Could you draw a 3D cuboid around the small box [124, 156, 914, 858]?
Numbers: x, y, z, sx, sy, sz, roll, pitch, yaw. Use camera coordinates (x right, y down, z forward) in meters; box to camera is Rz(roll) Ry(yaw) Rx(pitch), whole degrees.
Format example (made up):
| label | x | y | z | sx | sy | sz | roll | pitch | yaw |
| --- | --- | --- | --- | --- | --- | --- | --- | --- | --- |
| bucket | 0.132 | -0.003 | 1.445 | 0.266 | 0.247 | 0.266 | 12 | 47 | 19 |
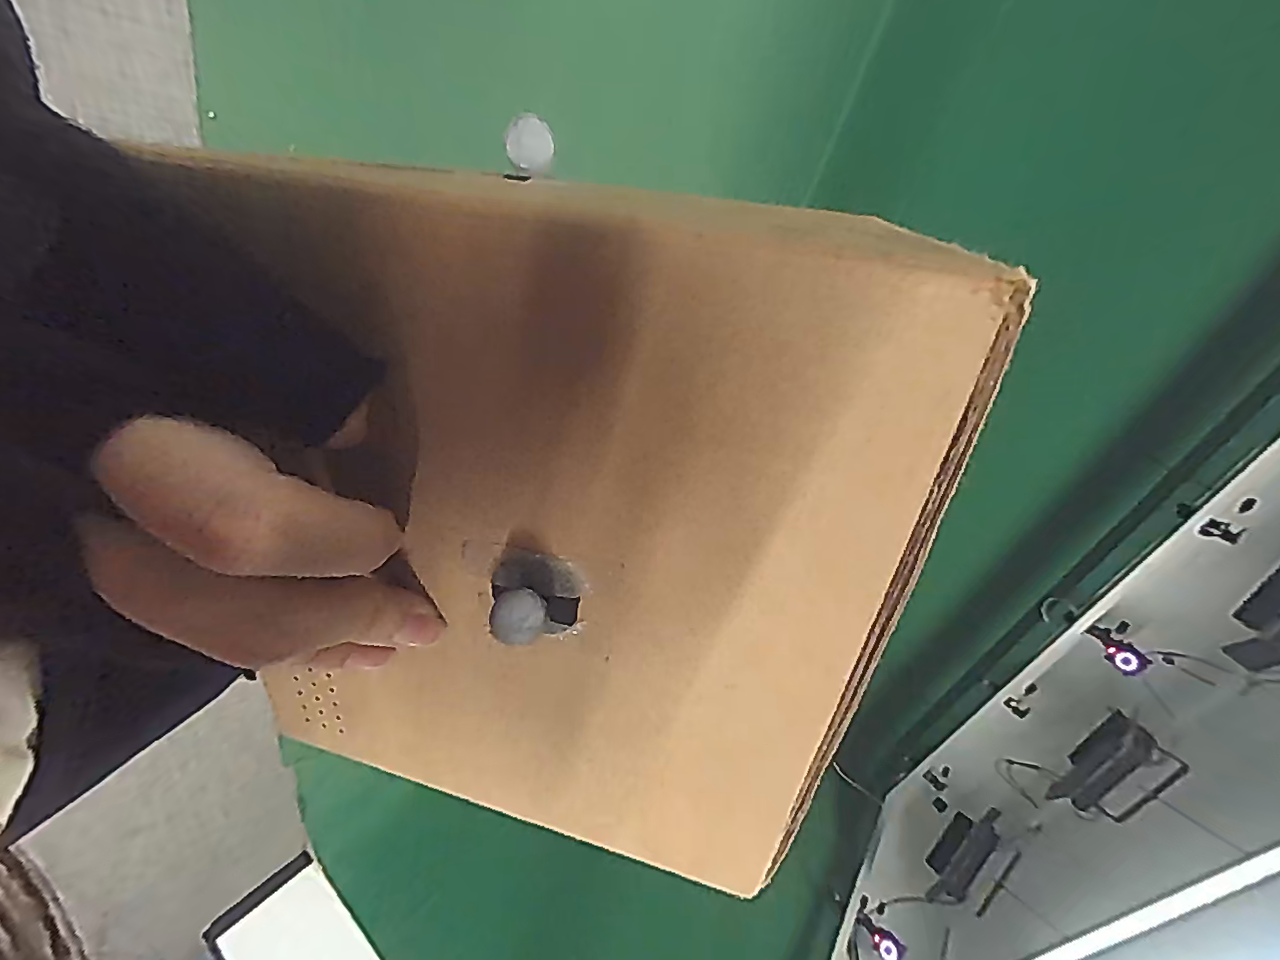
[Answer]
| label | x | y | z | sx | sy | sz | roll | pitch | yaw |
| --- | --- | --- | --- | --- | --- | --- | --- | --- | --- |
| small box | -0.025 | -0.009 | 0.208 | 0.168 | 0.176 | 0.179 | -62 | 161 | -60 |
